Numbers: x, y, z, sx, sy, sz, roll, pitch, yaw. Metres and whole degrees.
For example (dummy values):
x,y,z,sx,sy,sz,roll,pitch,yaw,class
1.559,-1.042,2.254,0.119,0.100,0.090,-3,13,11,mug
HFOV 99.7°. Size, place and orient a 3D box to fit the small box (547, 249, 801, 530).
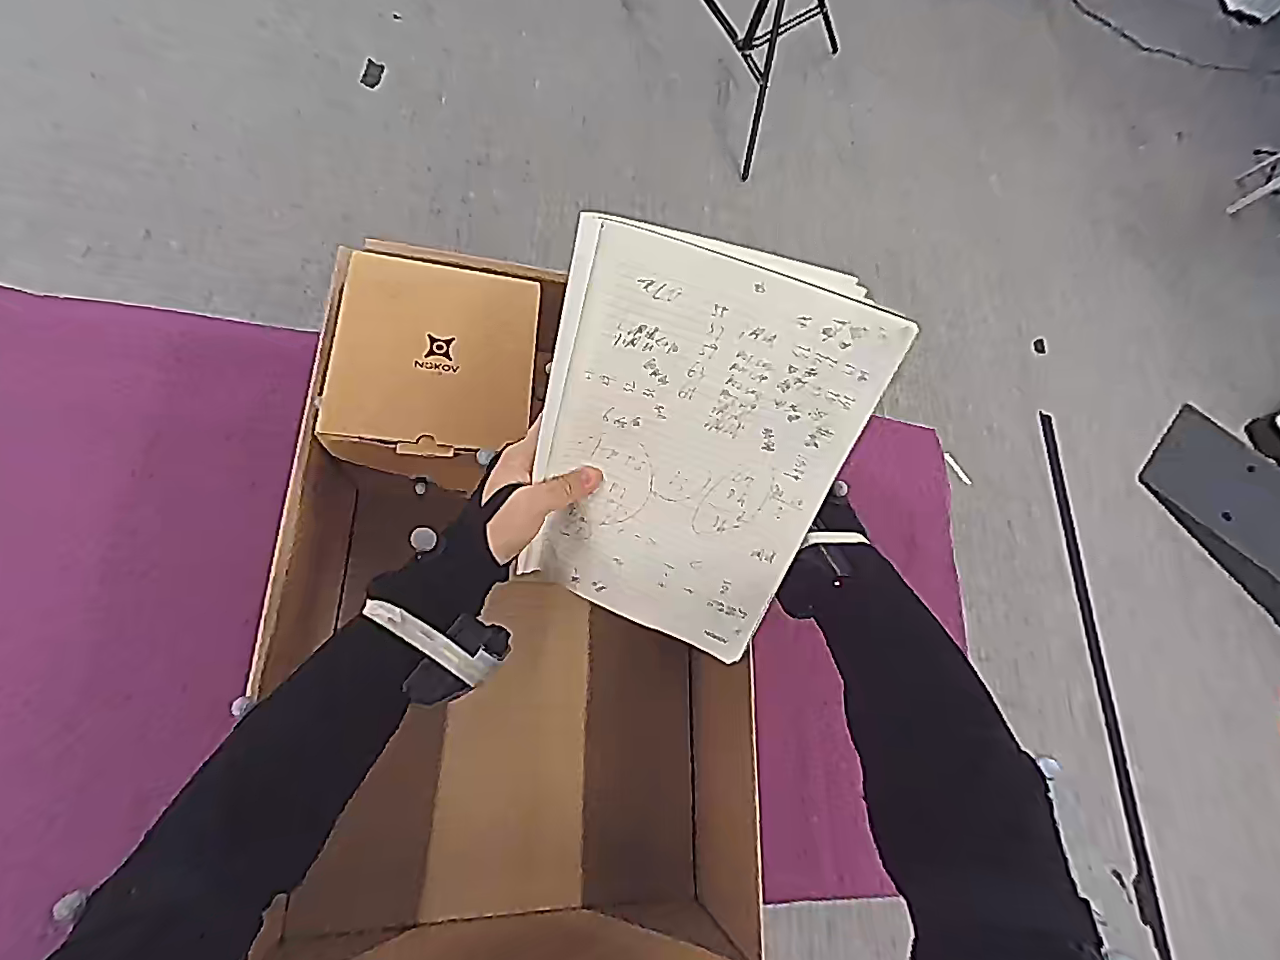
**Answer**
x,y,z,sx,sy,sz,roll,pitch,yaw,class
0.012,-0.072,0.488,0.168,0.176,0.179,7,47,-17,small box
